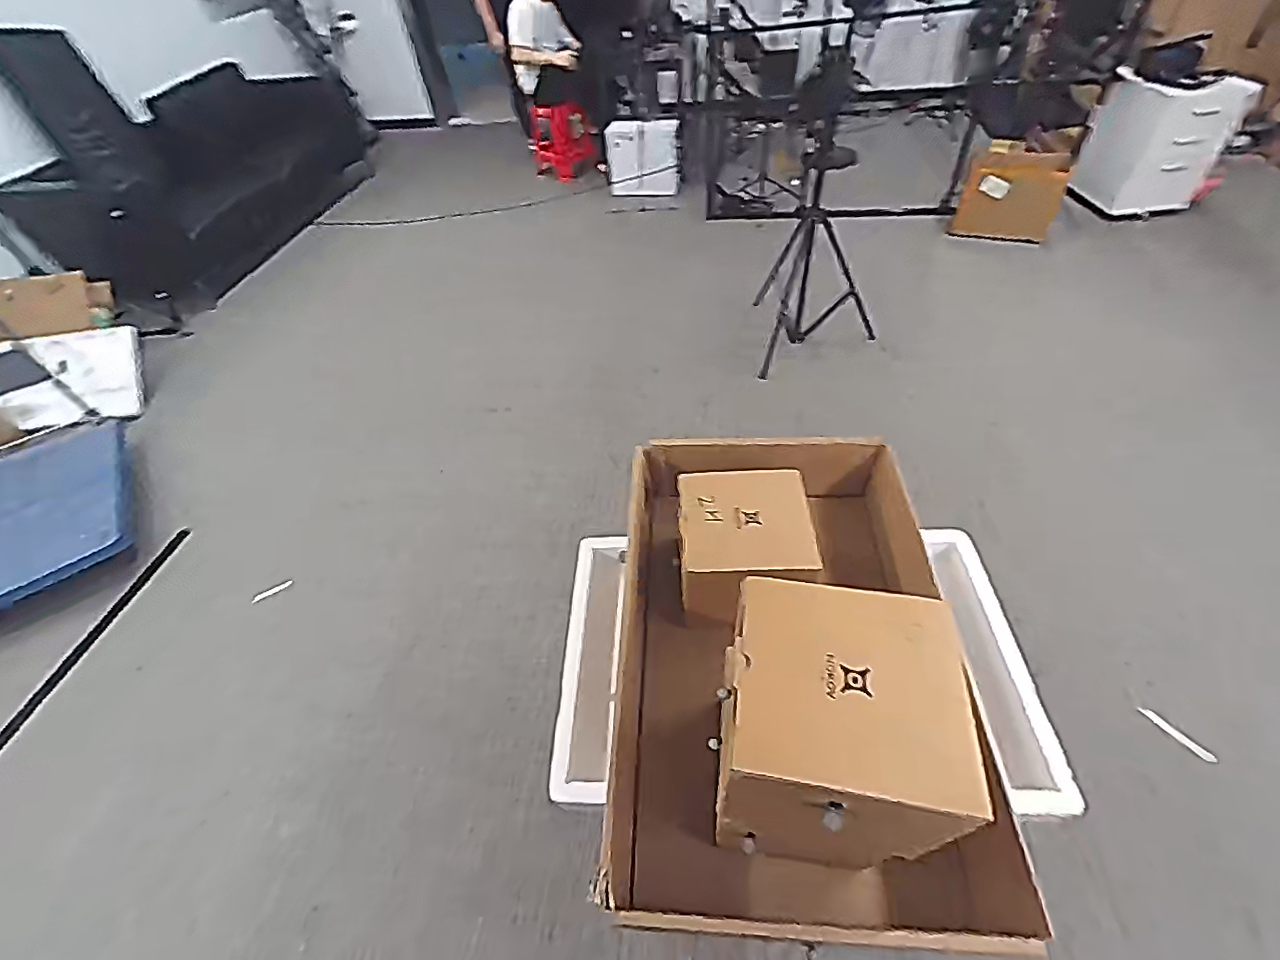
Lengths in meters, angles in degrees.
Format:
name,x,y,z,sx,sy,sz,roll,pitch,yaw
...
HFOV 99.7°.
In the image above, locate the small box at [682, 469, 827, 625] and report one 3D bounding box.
name,x,y,z,sx,sy,sz,roll,pitch,yaw
small box,0.153,0.101,0.788,0.179,0.176,0.168,-2,49,3
